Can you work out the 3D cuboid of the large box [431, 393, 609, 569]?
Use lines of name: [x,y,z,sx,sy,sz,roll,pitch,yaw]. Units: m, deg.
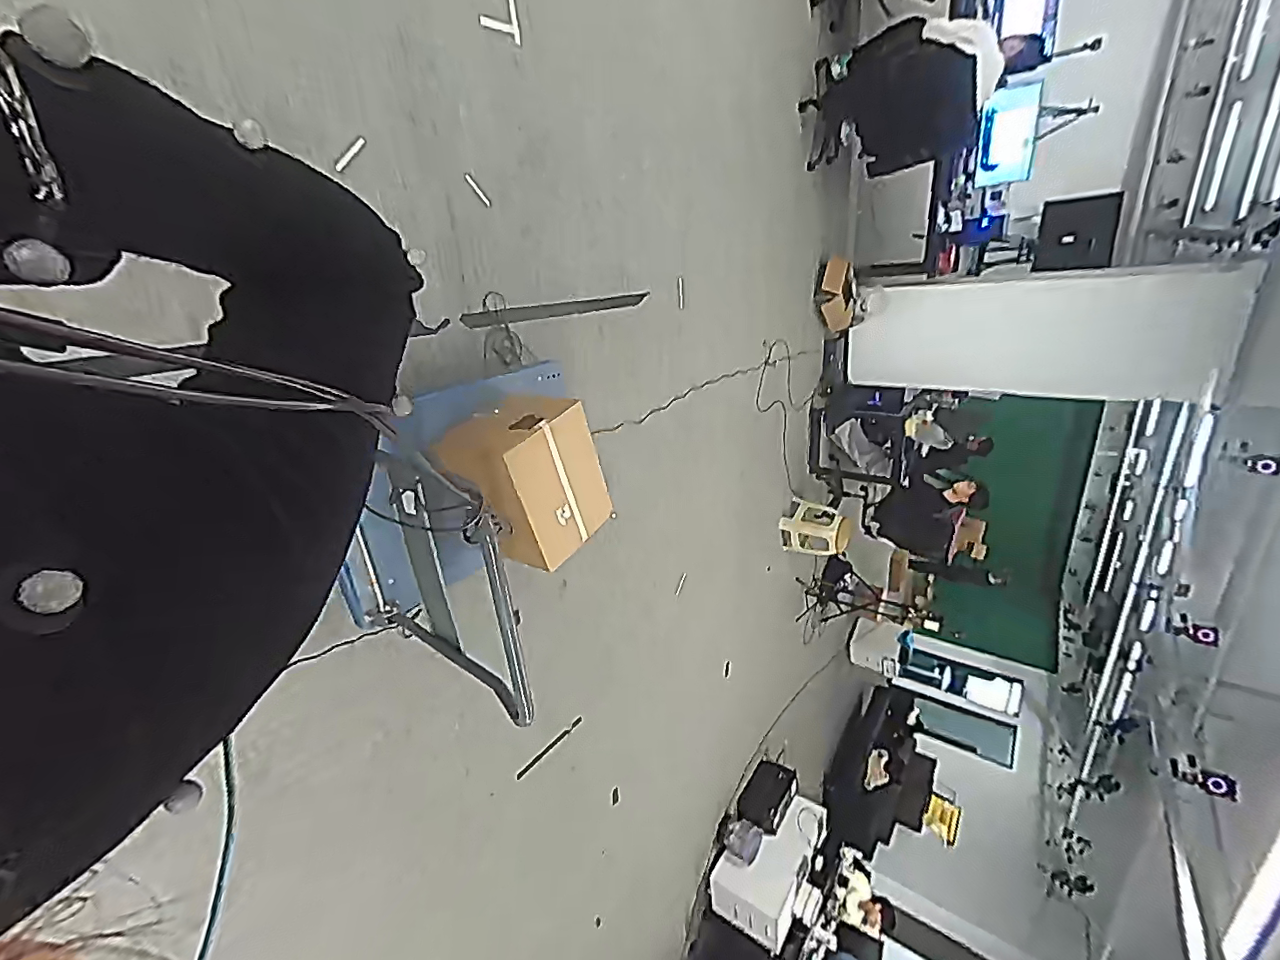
large box: [-0.343,-0.009,1.615,0.320,0.320,0.408,-43,132,-39]
